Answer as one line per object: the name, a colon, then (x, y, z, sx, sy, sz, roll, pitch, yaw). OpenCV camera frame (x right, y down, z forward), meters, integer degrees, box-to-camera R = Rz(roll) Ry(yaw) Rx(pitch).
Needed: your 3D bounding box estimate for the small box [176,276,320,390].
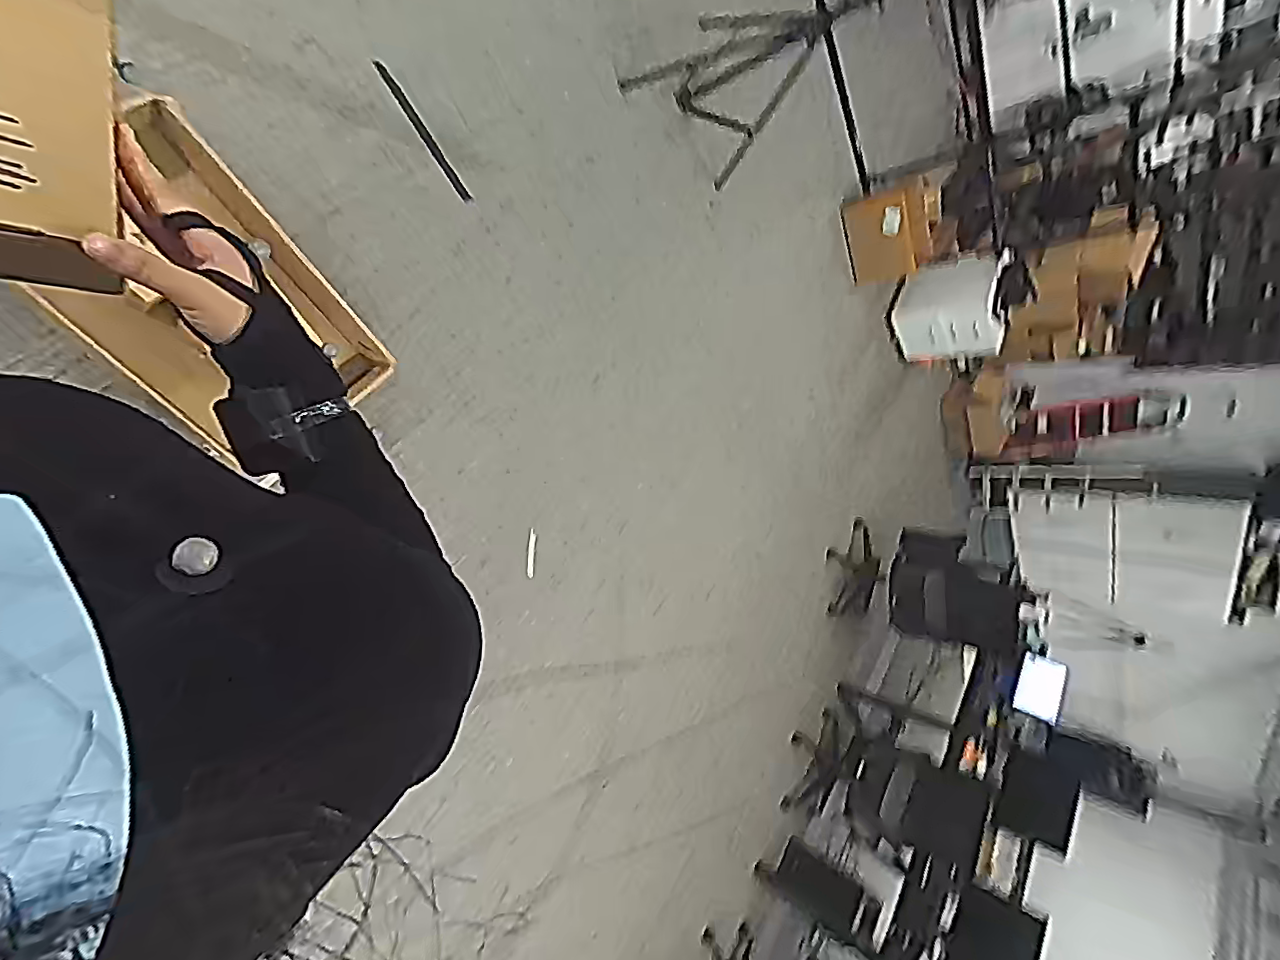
small box: (-0.824, -0.303, 1.133, 0.179, 0.176, 0.168, -47, 124, -30)

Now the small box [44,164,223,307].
small box: (-0.932, -0.444, 1.007, 0.179, 0.176, 0.168, -53, 129, -26)
